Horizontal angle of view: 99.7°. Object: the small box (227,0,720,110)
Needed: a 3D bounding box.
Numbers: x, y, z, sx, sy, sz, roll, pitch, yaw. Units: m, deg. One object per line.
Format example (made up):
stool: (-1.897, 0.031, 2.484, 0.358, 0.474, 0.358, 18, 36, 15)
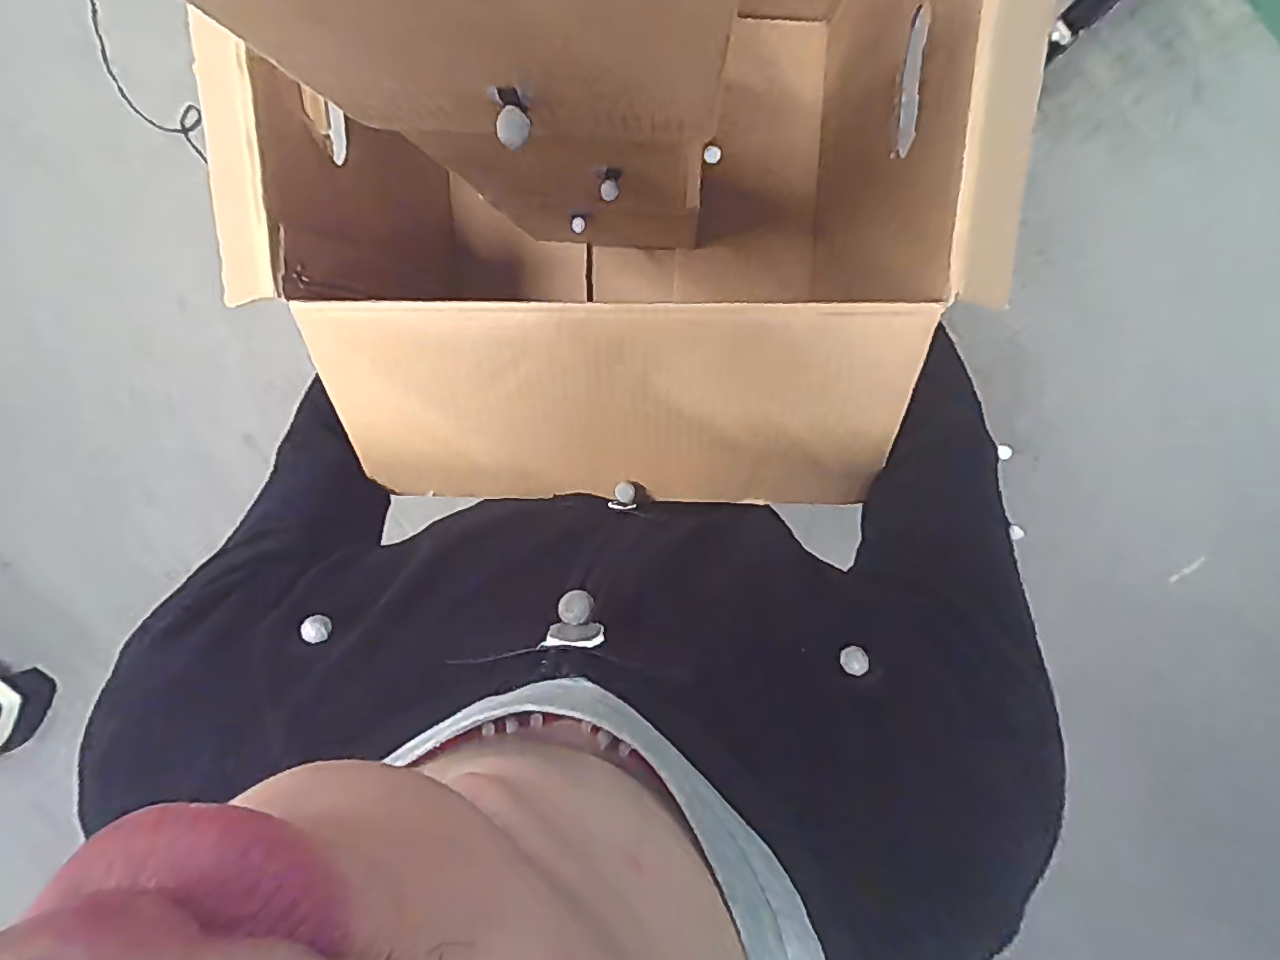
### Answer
small box: (-0.053, -0.234, 0.157, 0.179, 0.176, 0.168, 4, 104, 2)
